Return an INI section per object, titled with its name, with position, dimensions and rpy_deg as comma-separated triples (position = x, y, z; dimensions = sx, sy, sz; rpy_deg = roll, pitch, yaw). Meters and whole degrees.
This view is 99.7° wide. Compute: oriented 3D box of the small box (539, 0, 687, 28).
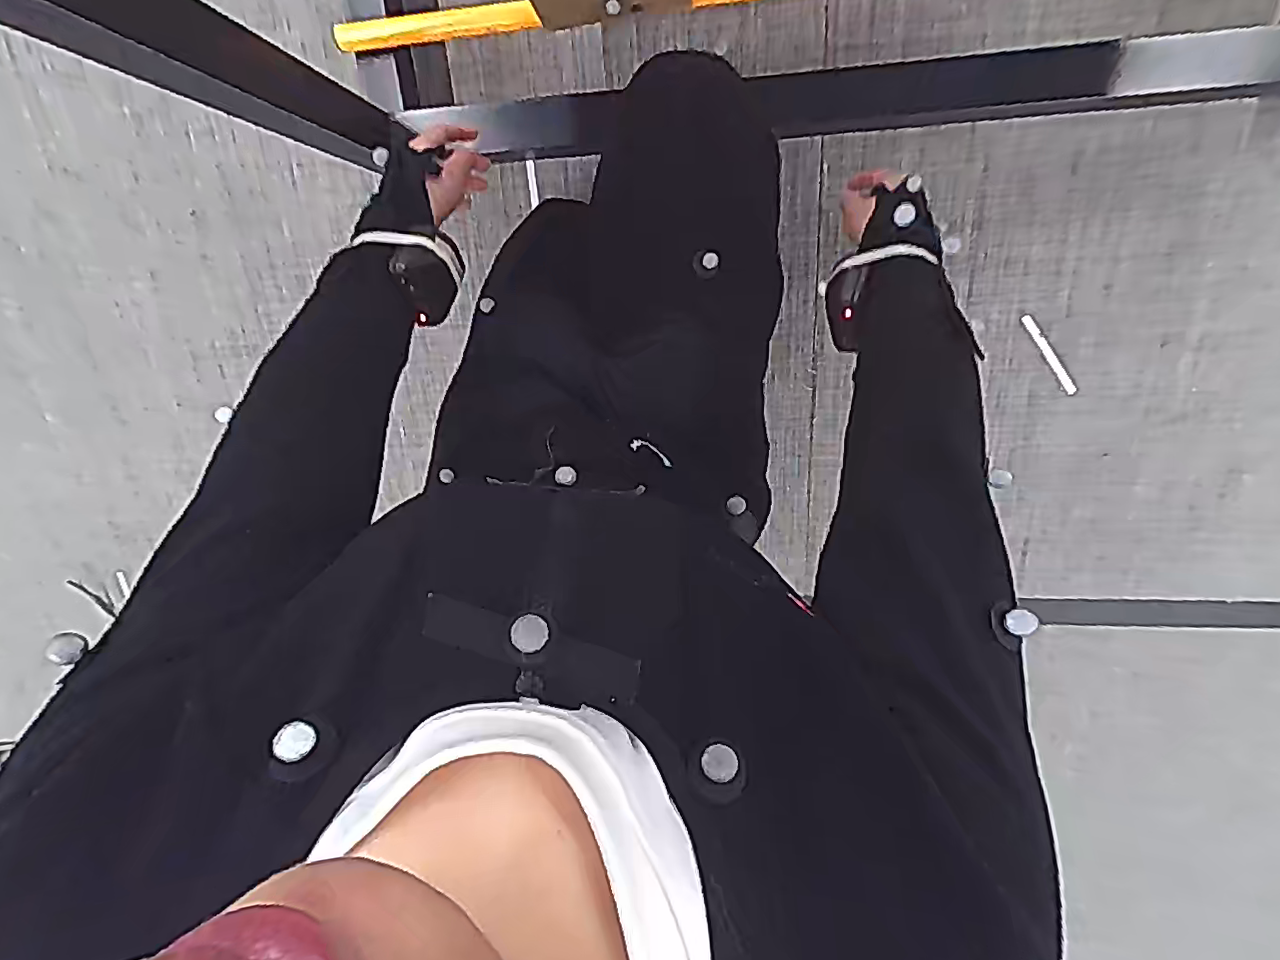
[small box]
position = -0.039, -0.556, 0.482
dimensions = 0.168, 0.176, 0.179
rpy_deg = -5, 109, 7
